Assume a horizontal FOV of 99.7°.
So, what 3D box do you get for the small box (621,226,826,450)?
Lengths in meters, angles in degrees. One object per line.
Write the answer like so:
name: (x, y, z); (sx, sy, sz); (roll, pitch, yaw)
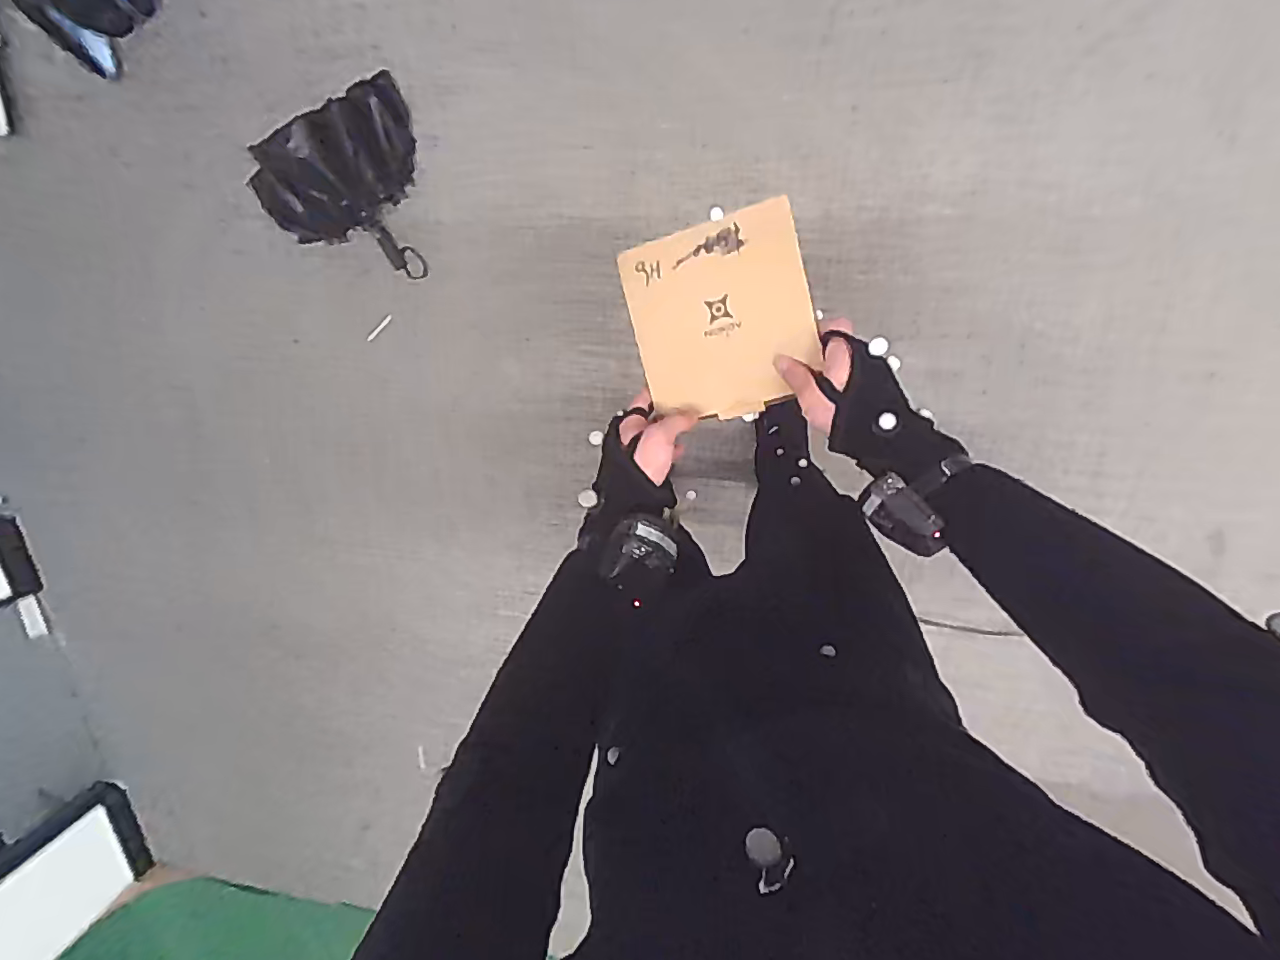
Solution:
small box: (0.098, -0.144, 0.589); (0.168, 0.176, 0.179); (-13, 96, 16)
